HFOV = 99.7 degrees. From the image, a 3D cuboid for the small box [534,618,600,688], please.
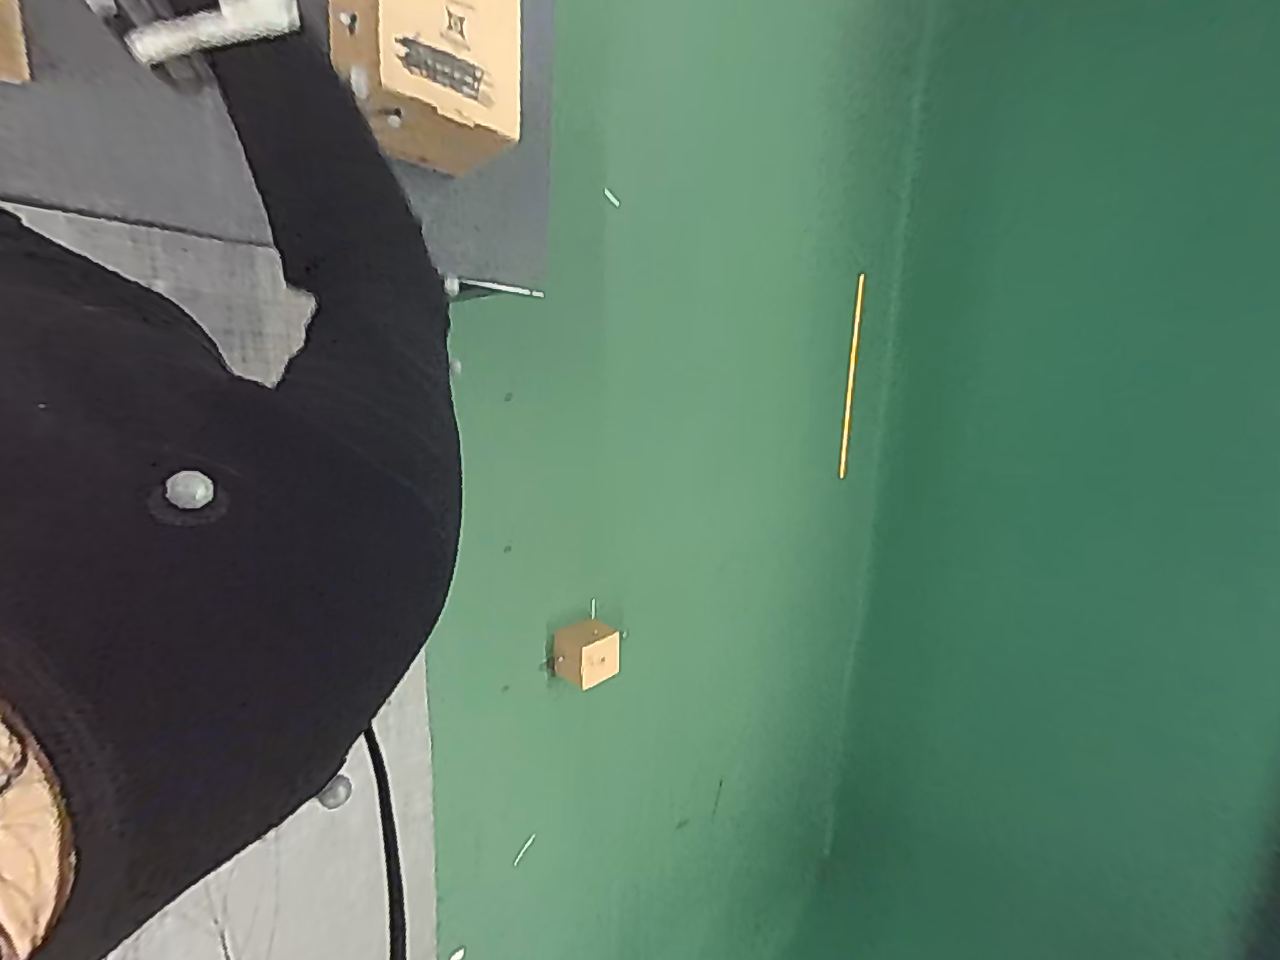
[{"bbox_3d":[-0.269,0.627,1.991,0.179,0.176,0.168,-10,106,-45],"label":"small box"}]
